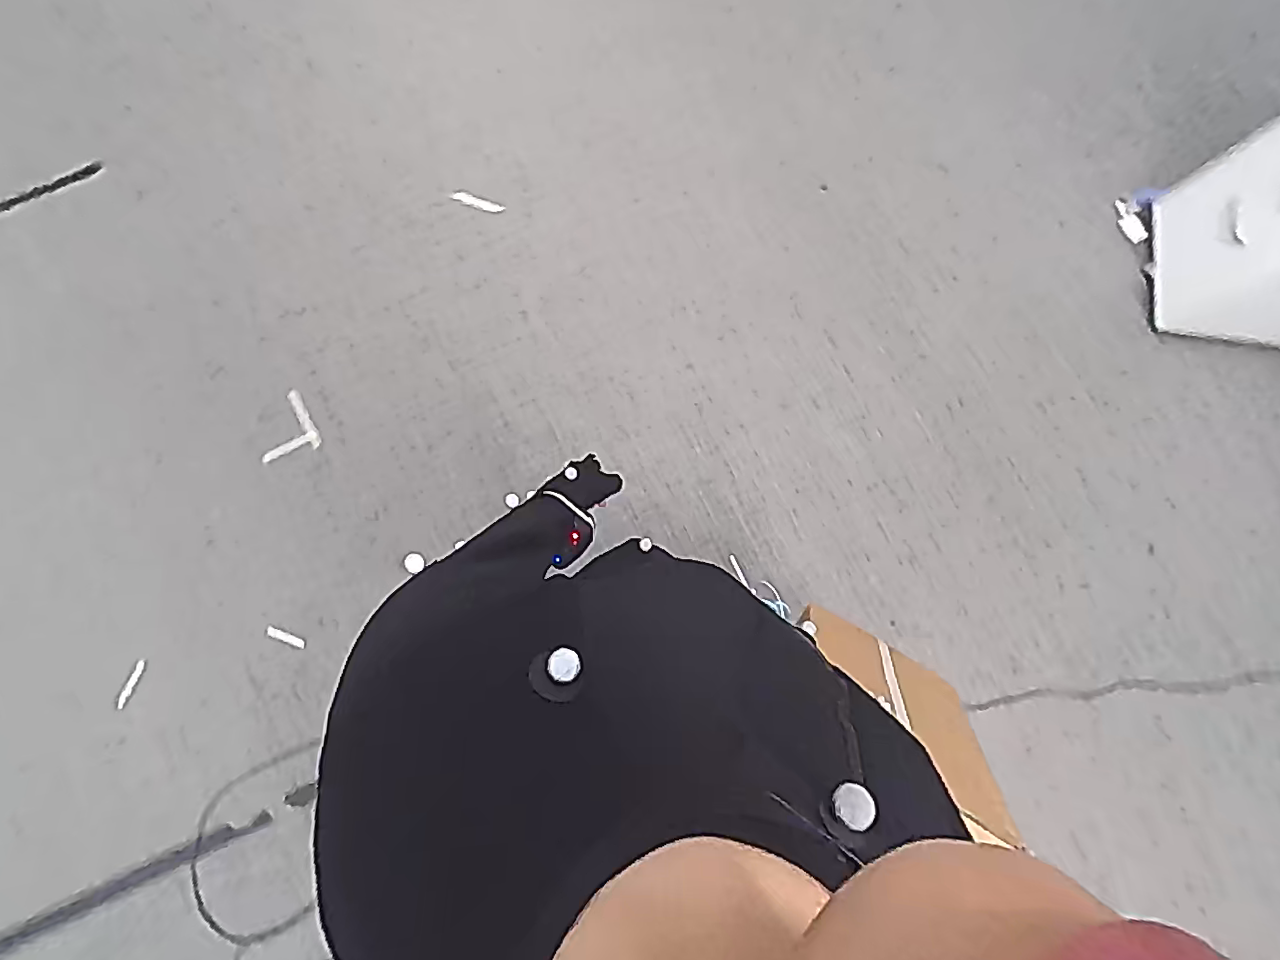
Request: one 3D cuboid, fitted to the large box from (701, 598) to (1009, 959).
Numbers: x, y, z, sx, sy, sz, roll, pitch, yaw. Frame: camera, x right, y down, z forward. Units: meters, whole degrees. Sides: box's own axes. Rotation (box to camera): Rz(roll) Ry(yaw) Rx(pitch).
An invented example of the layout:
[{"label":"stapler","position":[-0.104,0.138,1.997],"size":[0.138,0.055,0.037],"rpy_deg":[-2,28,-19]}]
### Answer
[{"label":"large box","position":[0.341,0.483,0.954],"size":[0.320,0.408,0.320],"rpy_deg":[30,109,10]}]
